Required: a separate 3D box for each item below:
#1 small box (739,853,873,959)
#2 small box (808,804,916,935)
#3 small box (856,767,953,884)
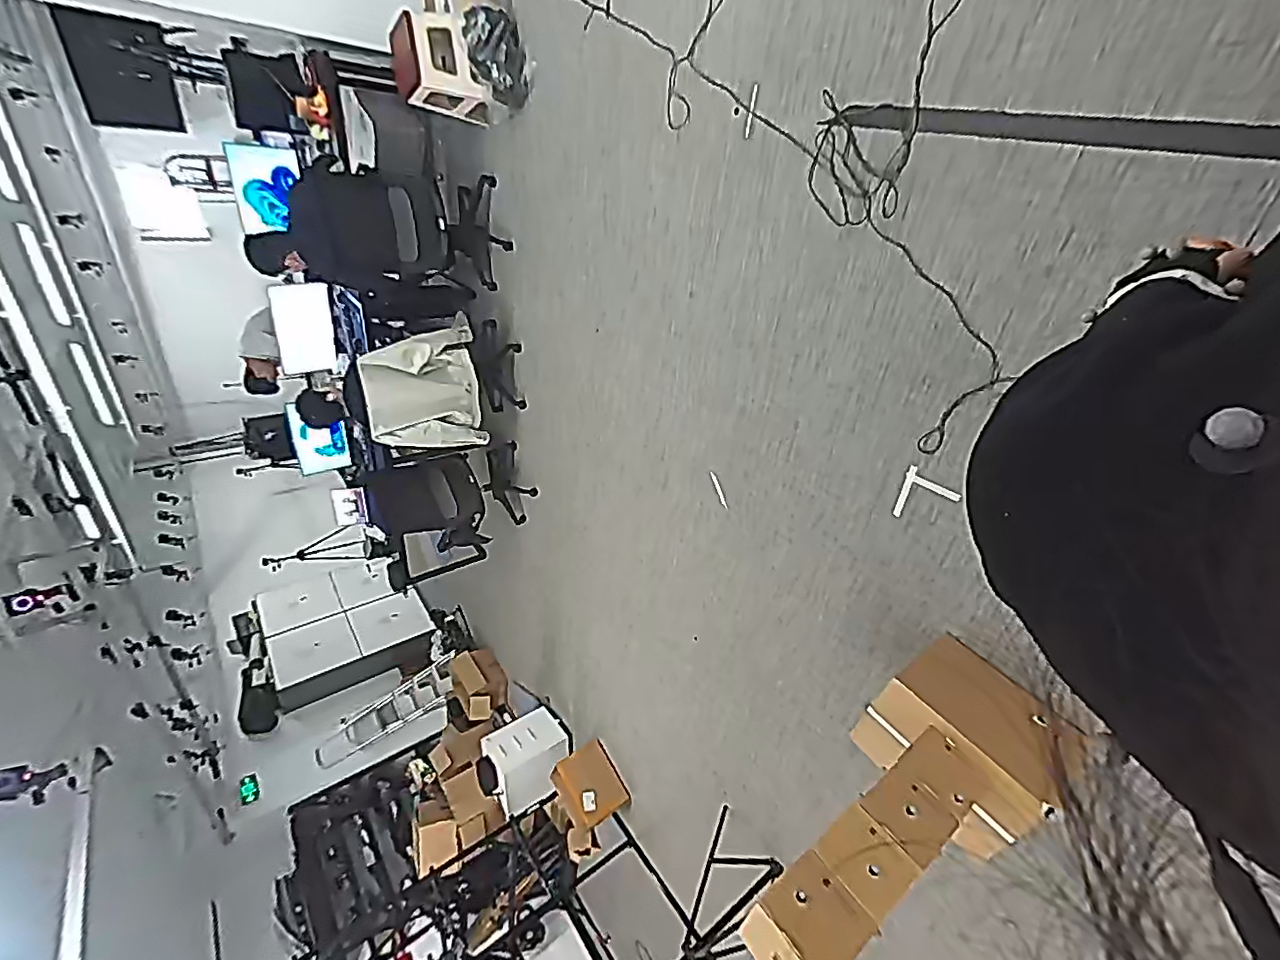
[{"bbox_3d":[0.325,0.886,1.063,0.168,0.176,0.179,41,136,39],"label":"small box"},{"bbox_3d":[0.454,0.841,1.152,0.168,0.176,0.179,40,135,38],"label":"small box"},{"bbox_3d":[0.583,0.805,1.244,0.168,0.176,0.179,43,135,37],"label":"small box"}]
